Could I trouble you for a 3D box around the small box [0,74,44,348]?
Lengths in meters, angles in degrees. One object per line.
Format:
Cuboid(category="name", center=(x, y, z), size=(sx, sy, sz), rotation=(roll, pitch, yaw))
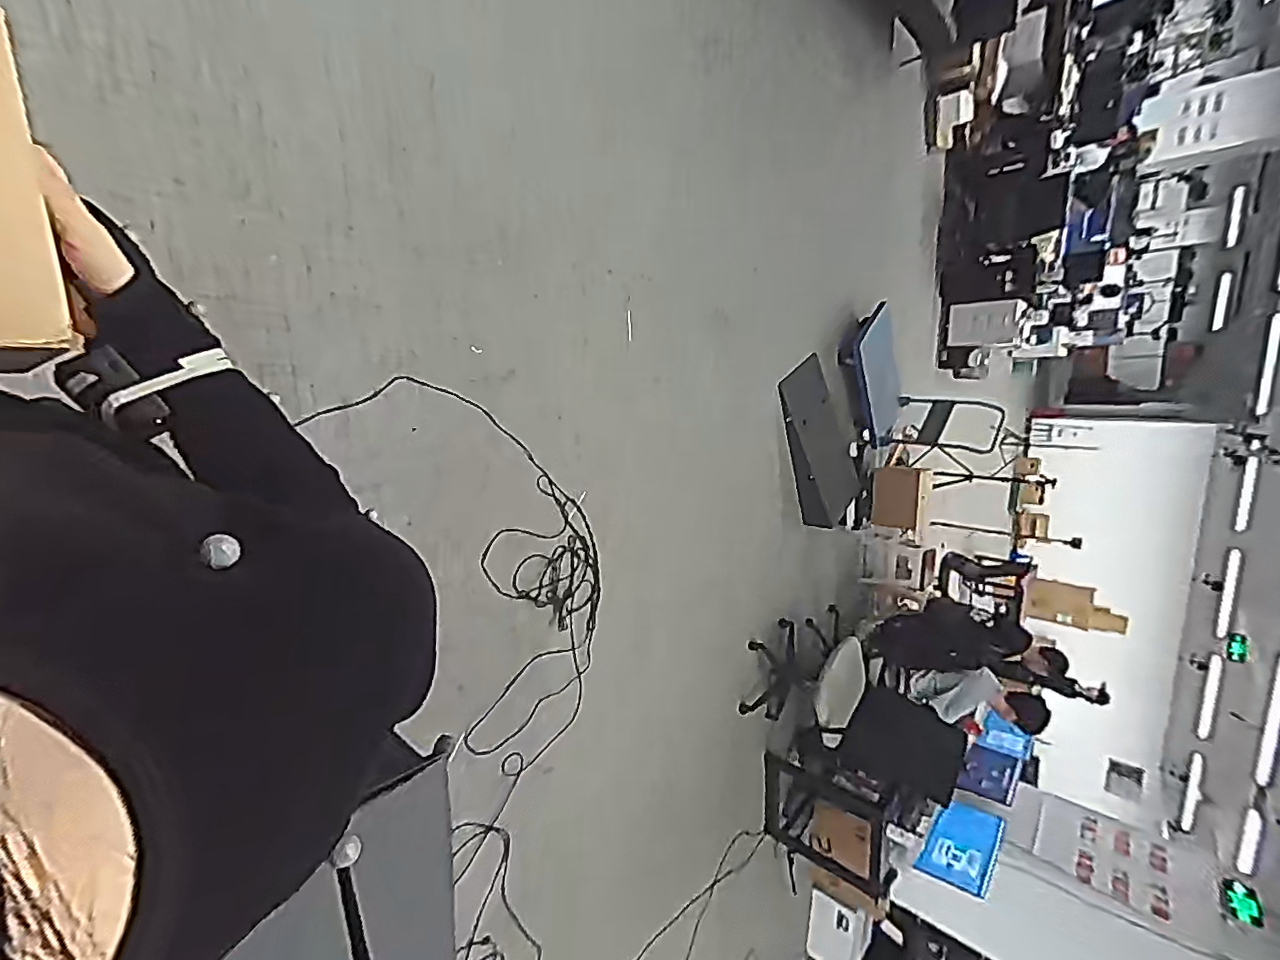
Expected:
Cuboid(category="small box", center=(-0.426, -0.157, 0.249), size=(0.168, 0.176, 0.179), rotation=(-14, 103, -54))
